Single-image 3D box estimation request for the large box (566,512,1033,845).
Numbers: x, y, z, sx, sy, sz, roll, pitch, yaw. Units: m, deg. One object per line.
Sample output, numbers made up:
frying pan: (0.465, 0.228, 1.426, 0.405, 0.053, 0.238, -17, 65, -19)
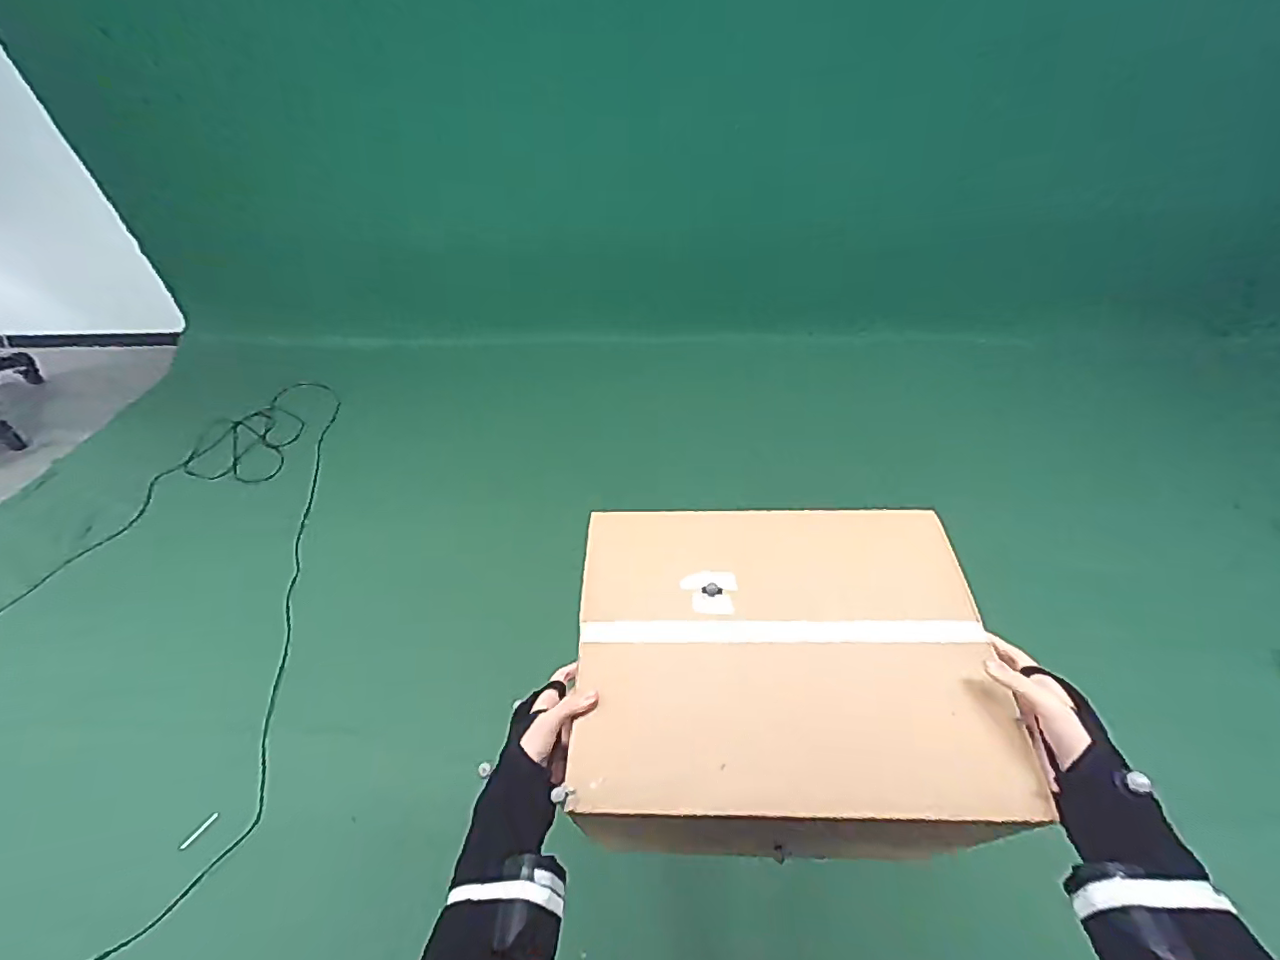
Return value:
large box: (0.145, 0.256, 0.668, 0.408, 0.320, 0.320, -1, 50, 4)
